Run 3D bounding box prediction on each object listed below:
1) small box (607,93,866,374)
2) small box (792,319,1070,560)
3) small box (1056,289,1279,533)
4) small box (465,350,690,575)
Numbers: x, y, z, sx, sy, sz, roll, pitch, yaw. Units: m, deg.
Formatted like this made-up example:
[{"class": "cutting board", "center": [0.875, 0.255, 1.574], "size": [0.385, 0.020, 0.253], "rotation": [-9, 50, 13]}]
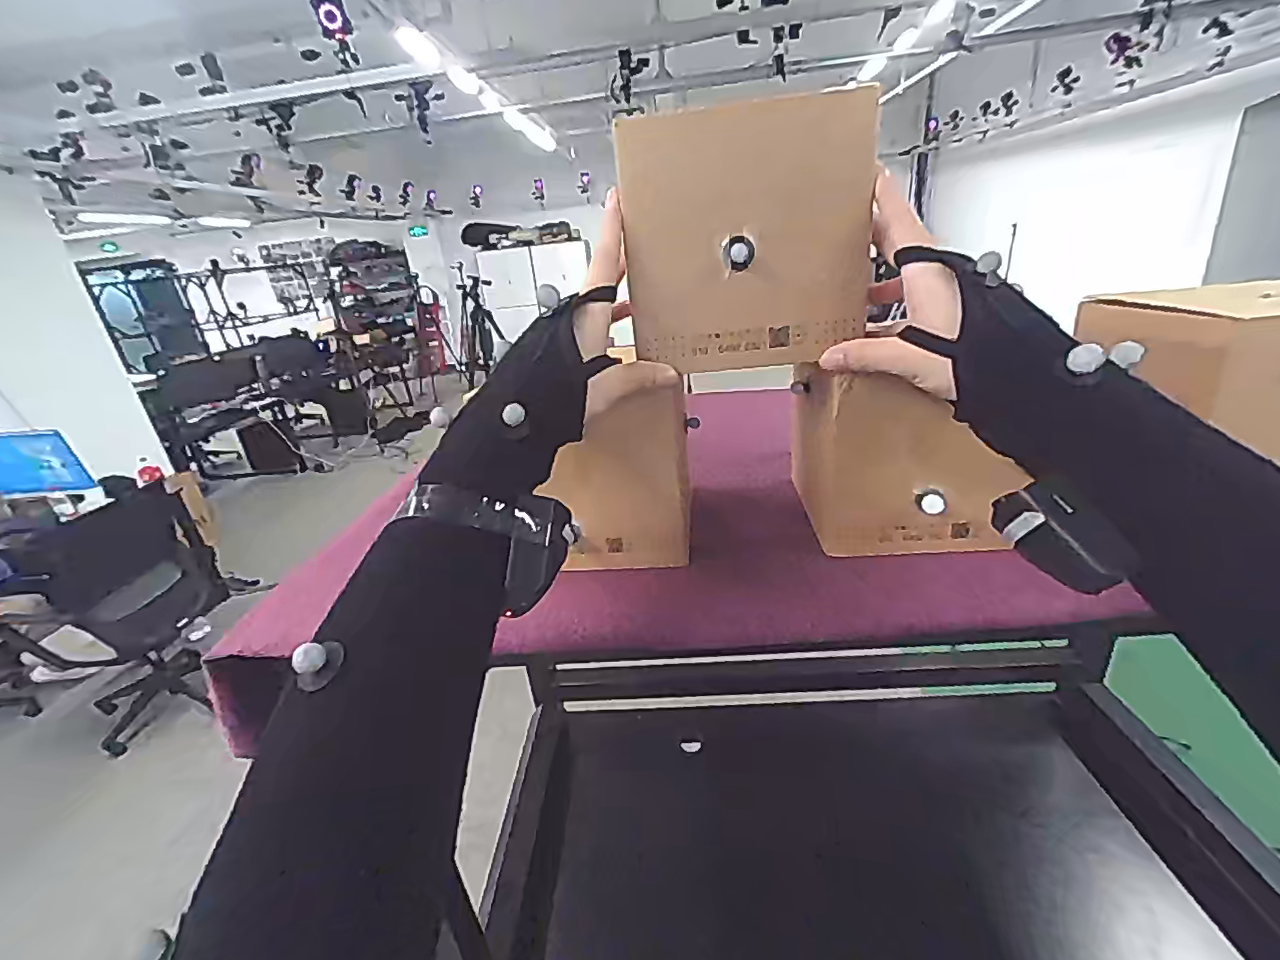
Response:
[{"class": "small box", "center": [0.074, -0.185, 0.443], "size": [0.168, 0.176, 0.179], "rotation": [-4, 23, 6]}, {"class": "small box", "center": [0.233, -0.043, 0.490], "size": [0.168, 0.176, 0.179], "rotation": [-4, 24, 8]}, {"class": "small box", "center": [0.505, -0.066, 0.468], "size": [0.168, 0.176, 0.179], "rotation": [-4, 21, 8]}, {"class": "small box", "center": [-0.042, -0.025, 0.521], "size": [0.168, 0.176, 0.179], "rotation": [-4, 23, 9]}]
